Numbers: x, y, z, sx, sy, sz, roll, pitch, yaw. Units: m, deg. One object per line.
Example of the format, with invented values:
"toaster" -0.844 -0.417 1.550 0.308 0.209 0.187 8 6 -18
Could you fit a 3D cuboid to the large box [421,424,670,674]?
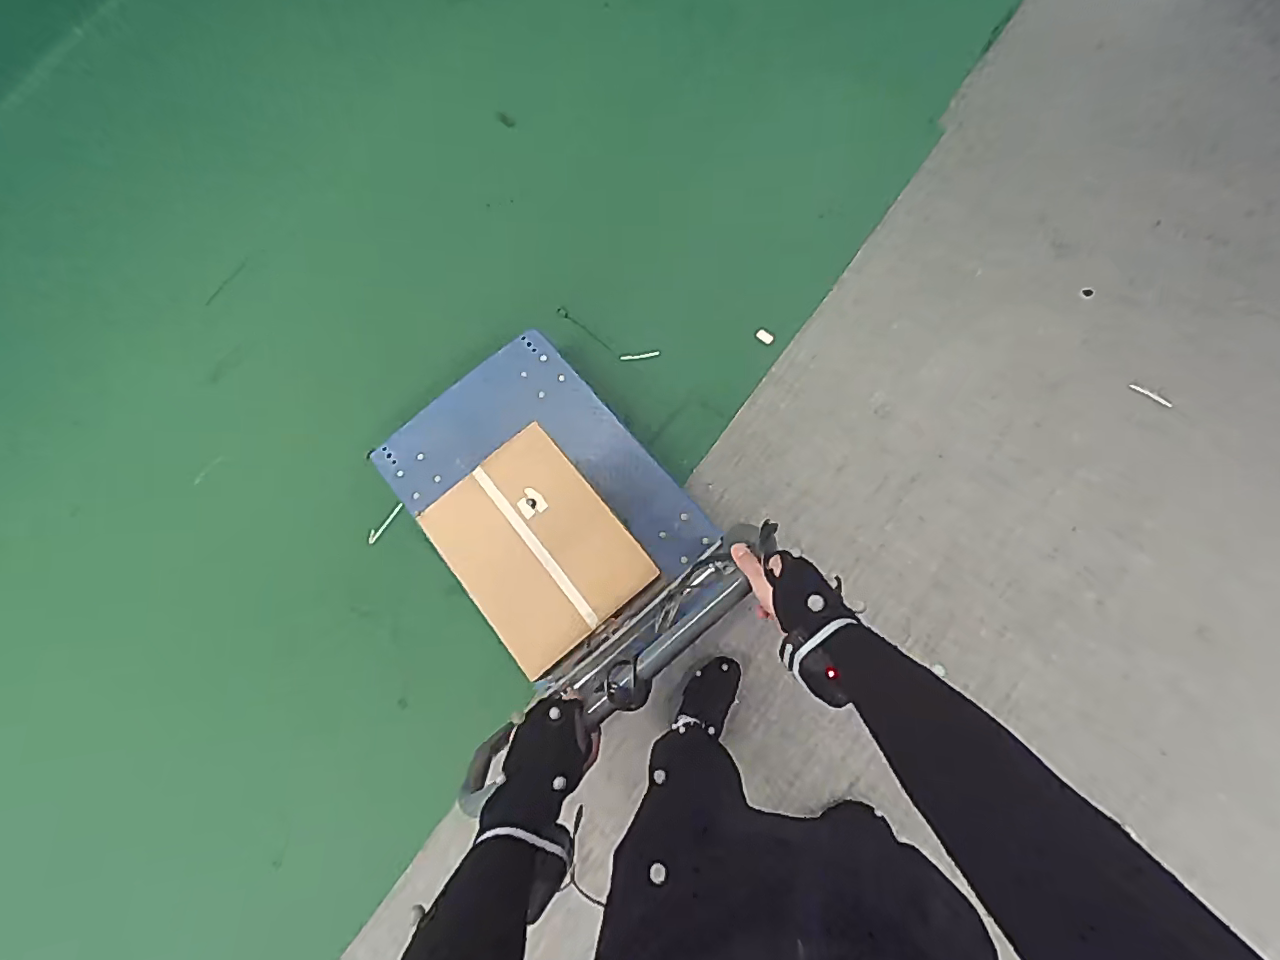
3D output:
"large box" -0.184 0.157 1.194 0.320 0.320 0.408 -40 75 -5
